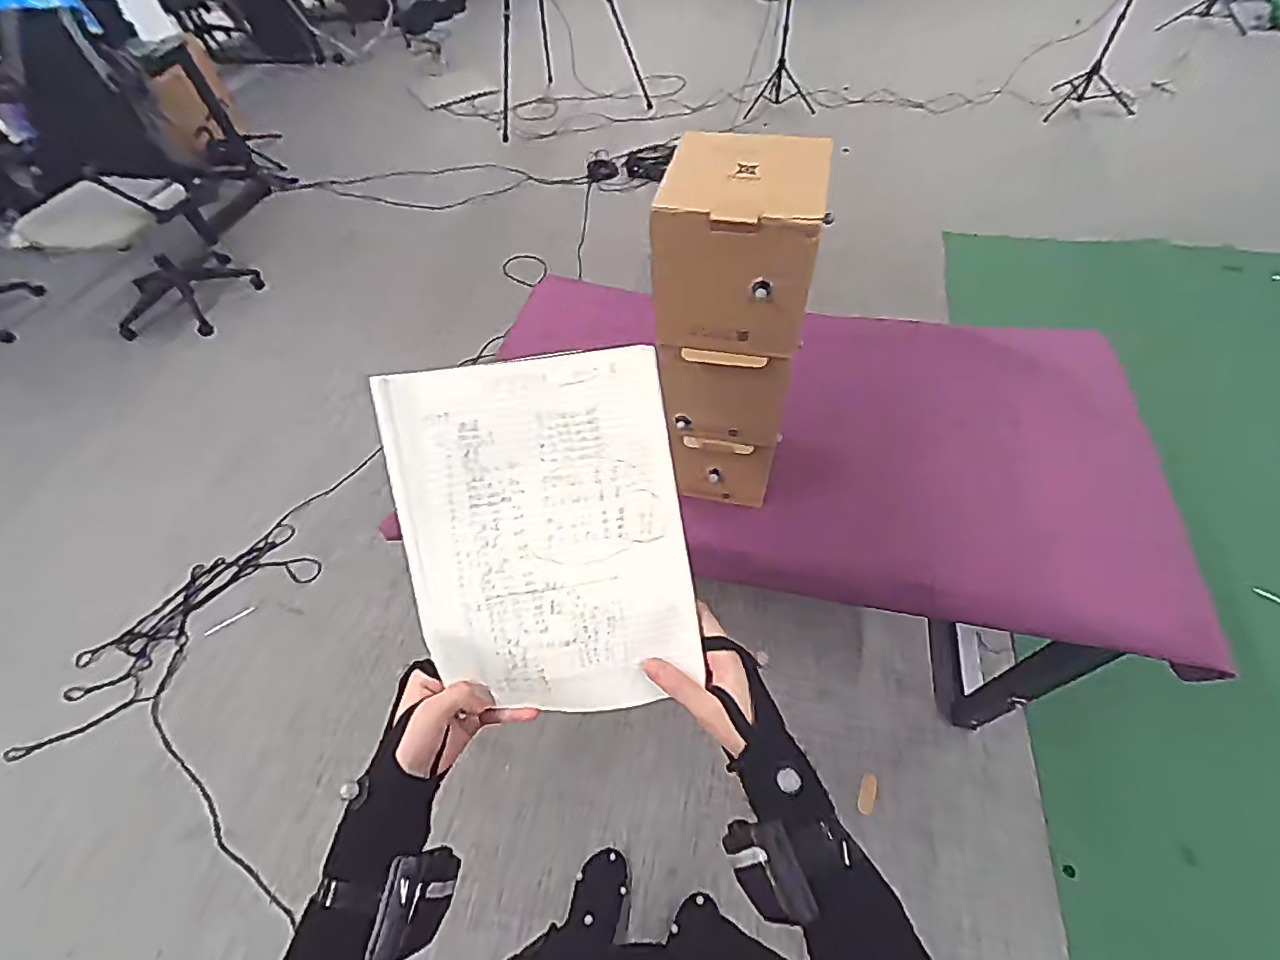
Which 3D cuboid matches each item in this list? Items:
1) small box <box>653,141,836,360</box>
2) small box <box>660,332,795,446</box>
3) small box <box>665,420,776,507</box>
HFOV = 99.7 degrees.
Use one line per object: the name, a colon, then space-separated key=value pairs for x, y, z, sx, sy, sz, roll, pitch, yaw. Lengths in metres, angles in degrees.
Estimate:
small box: x=0.119 y=-0.262 z=0.625 sx=0.168 sy=0.176 sz=0.179 roll=11 pitch=55 yaw=11
small box: x=0.130 y=-0.169 z=0.759 sx=0.168 sy=0.176 sz=0.179 roll=10 pitch=54 yaw=11
small box: x=0.142 y=-0.077 z=0.895 sx=0.168 sy=0.176 sz=0.179 roll=10 pitch=56 yaw=11
